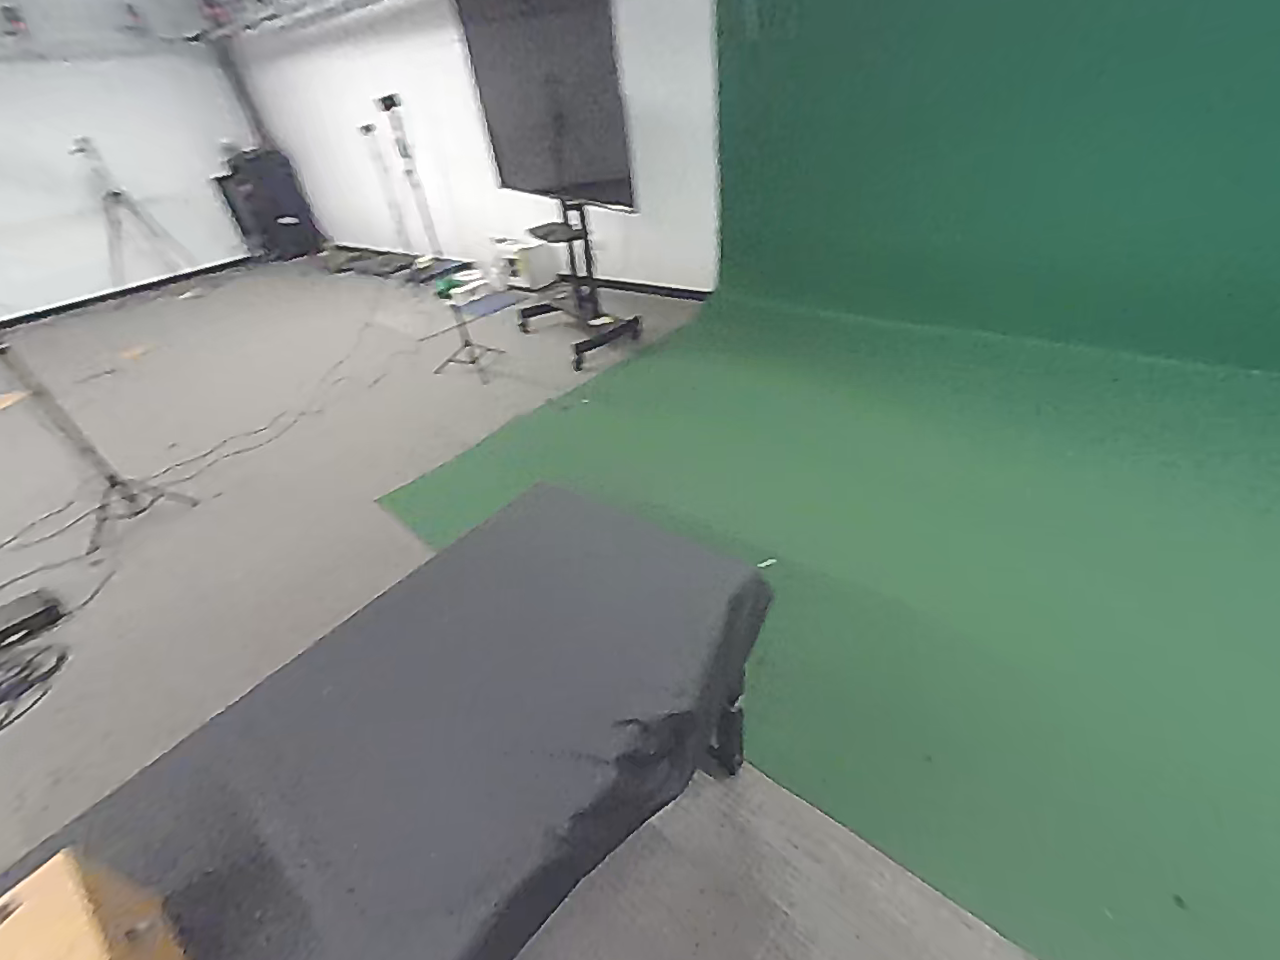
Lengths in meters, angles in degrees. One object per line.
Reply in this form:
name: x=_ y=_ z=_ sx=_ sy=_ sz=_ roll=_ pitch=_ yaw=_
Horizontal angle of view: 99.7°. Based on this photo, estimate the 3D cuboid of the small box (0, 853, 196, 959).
small box: x=-0.600 y=0.547 z=0.560 sx=0.179 sy=0.176 sz=0.168 roll=19 pitch=43 yaw=32
